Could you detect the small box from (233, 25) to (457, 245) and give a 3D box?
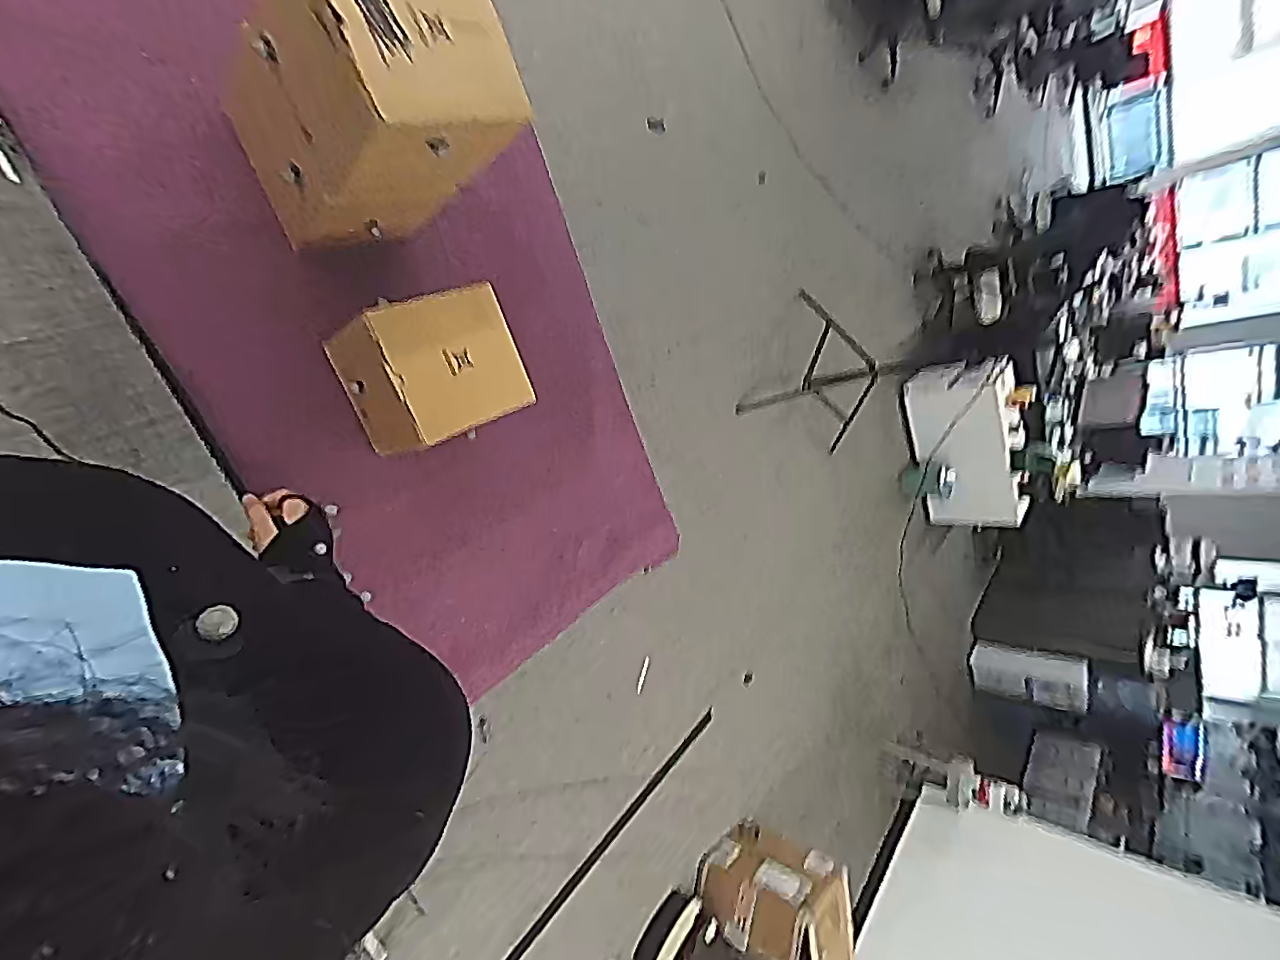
[{"bbox_3d":[-0.364,-0.407,0.670,0.168,0.176,0.179,-33,111,-39],"label":"small box"}]

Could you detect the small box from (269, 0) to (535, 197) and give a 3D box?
[{"bbox_3d":[-0.247,-0.412,0.555,0.179,0.176,0.168,-35,113,-39],"label":"small box"}]

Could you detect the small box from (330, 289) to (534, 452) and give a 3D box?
[{"bbox_3d":[-0.284,-0.146,0.741,0.179,0.176,0.168,-33,111,-39],"label":"small box"}]
